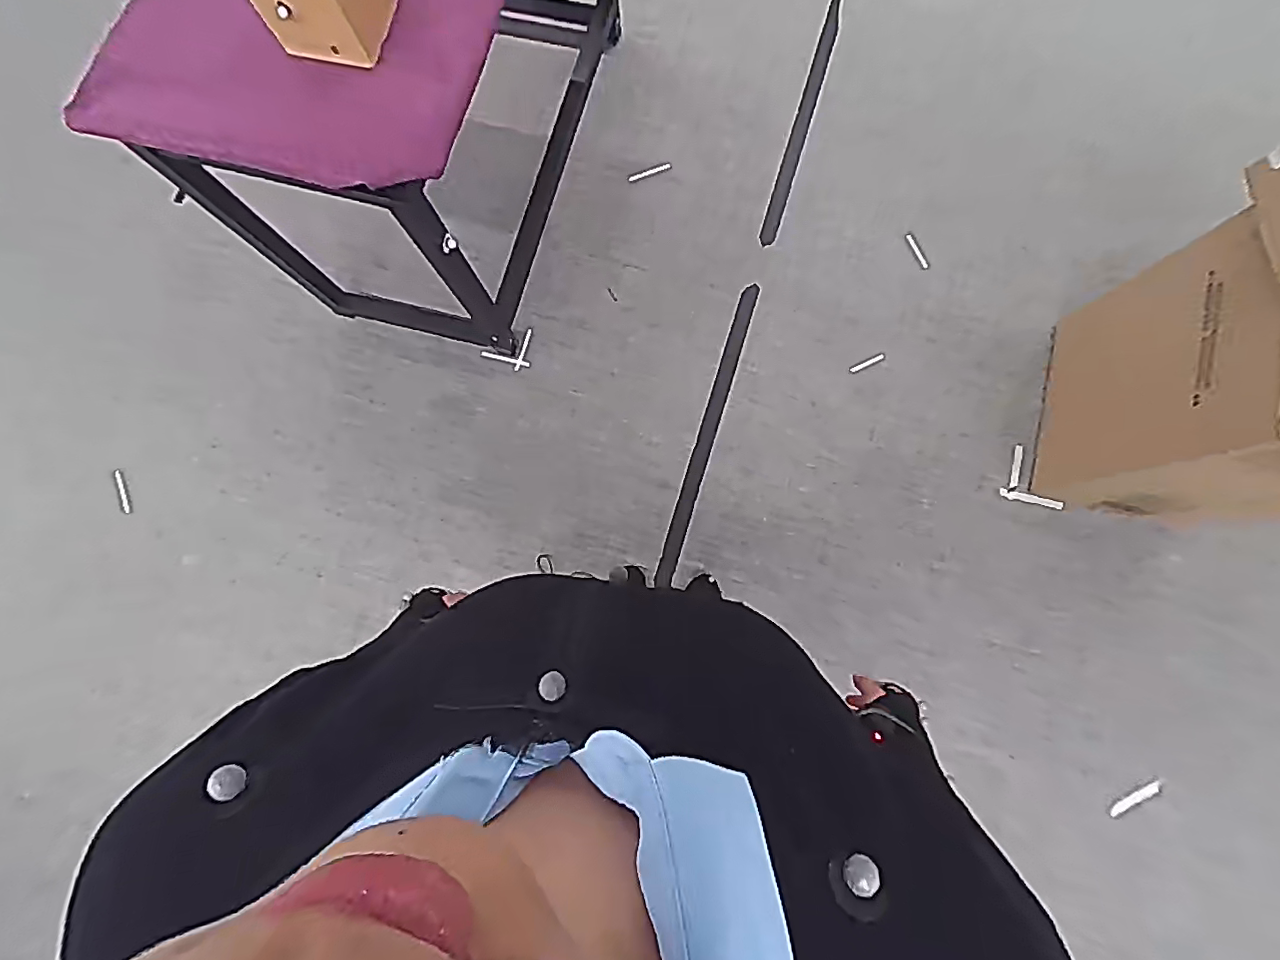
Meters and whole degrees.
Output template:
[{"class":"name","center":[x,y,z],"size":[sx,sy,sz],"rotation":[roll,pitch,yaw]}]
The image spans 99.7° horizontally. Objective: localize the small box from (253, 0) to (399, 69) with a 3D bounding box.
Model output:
[{"class":"small box","center":[-0.527,-0.829,0.890],"size":[0.168,0.176,0.179],"rotation":[12,81,4]}]
